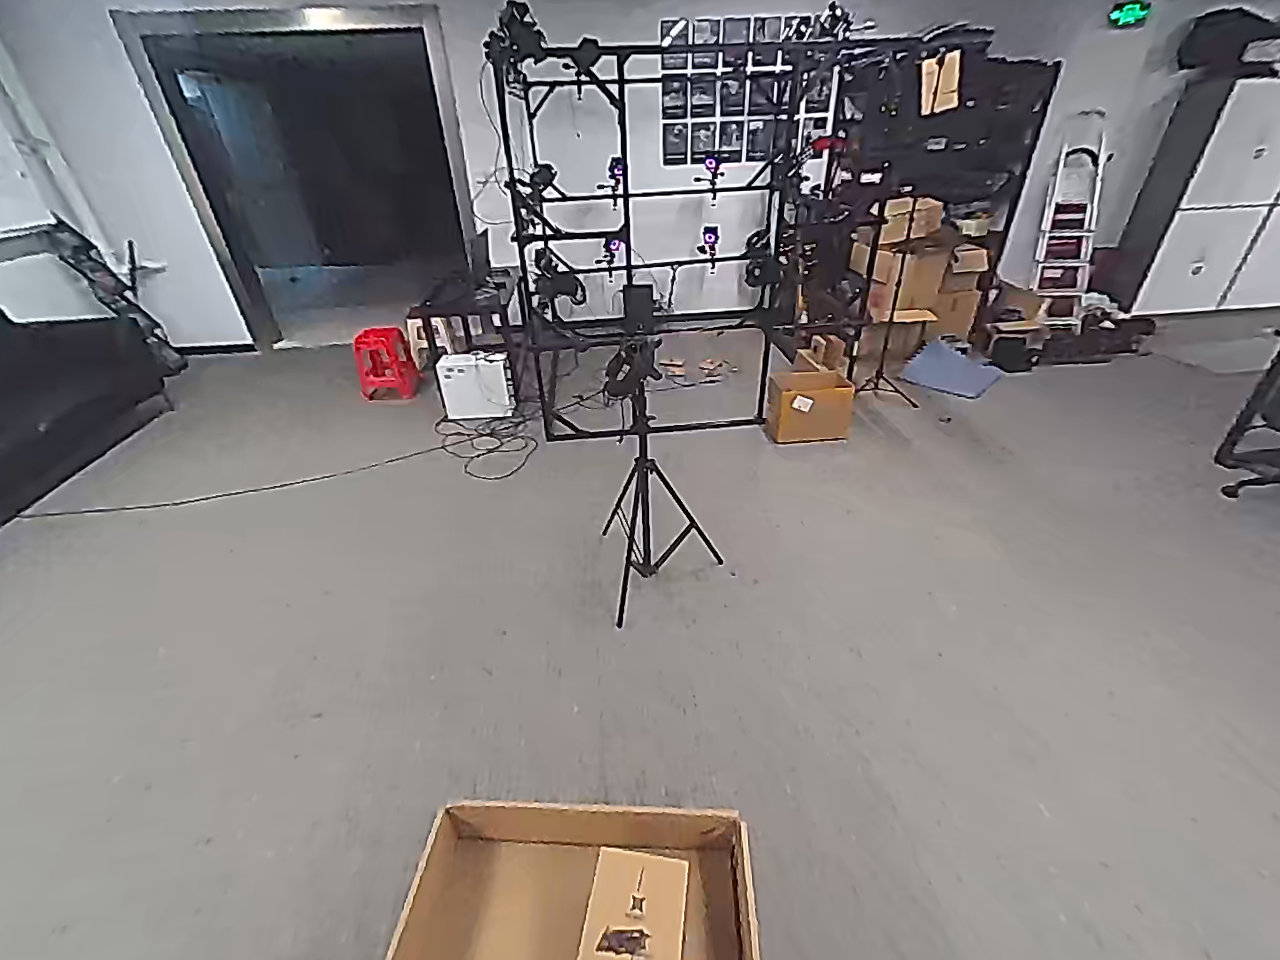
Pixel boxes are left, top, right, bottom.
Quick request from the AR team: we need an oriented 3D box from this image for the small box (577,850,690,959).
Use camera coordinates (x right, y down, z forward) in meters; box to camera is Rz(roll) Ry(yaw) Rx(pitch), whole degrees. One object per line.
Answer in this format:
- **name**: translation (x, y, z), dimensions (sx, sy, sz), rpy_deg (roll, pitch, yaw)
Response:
- **small box**: translation (-0.002, 0.799, 0.952), dimensions (0.168, 0.176, 0.179), rpy_deg (3, 32, 10)
